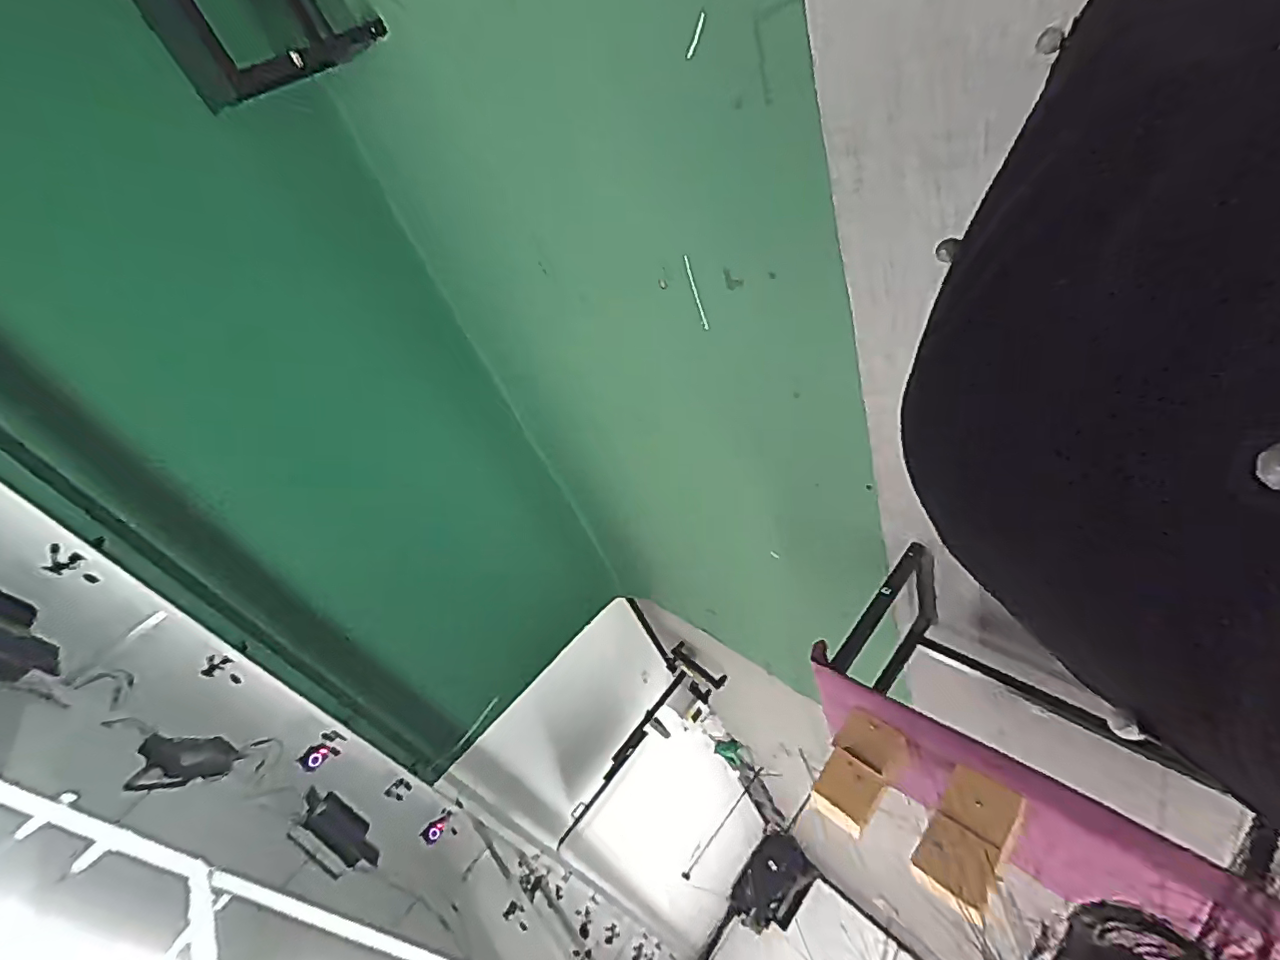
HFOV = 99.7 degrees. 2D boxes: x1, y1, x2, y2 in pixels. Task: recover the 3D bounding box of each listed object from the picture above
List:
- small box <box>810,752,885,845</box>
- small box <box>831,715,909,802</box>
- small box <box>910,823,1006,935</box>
[{"bbox_3d":[0.666,1.016,1.731,0.168,0.176,0.179,26,148,39],"label":"small box"},{"bbox_3d":[0.773,0.925,1.816,0.179,0.176,0.168,21,146,46],"label":"small box"},{"bbox_3d":[0.868,1.079,1.481,0.179,0.176,0.168,20,147,45],"label":"small box"}]
